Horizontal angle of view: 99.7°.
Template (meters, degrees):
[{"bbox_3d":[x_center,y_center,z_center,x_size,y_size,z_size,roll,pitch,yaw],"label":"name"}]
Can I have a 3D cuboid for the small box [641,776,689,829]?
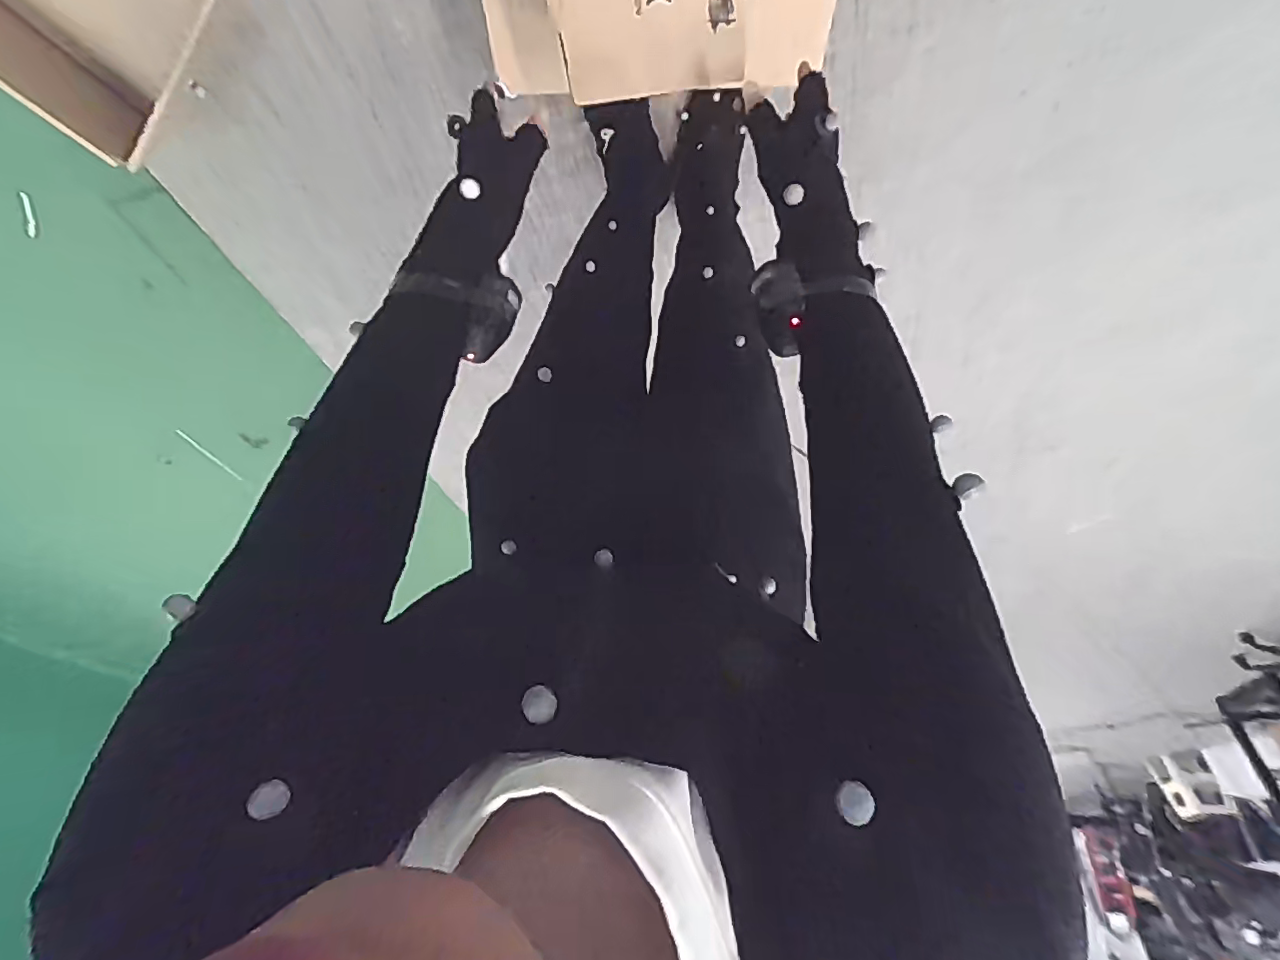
[{"bbox_3d":[0.100,1.294,2.169,0.168,0.176,0.179,-7,143,12],"label":"small box"}]

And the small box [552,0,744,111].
[{"bbox_3d":[0.010,-0.497,0.533,0.179,0.176,0.168,-3,143,7],"label":"small box"}]
